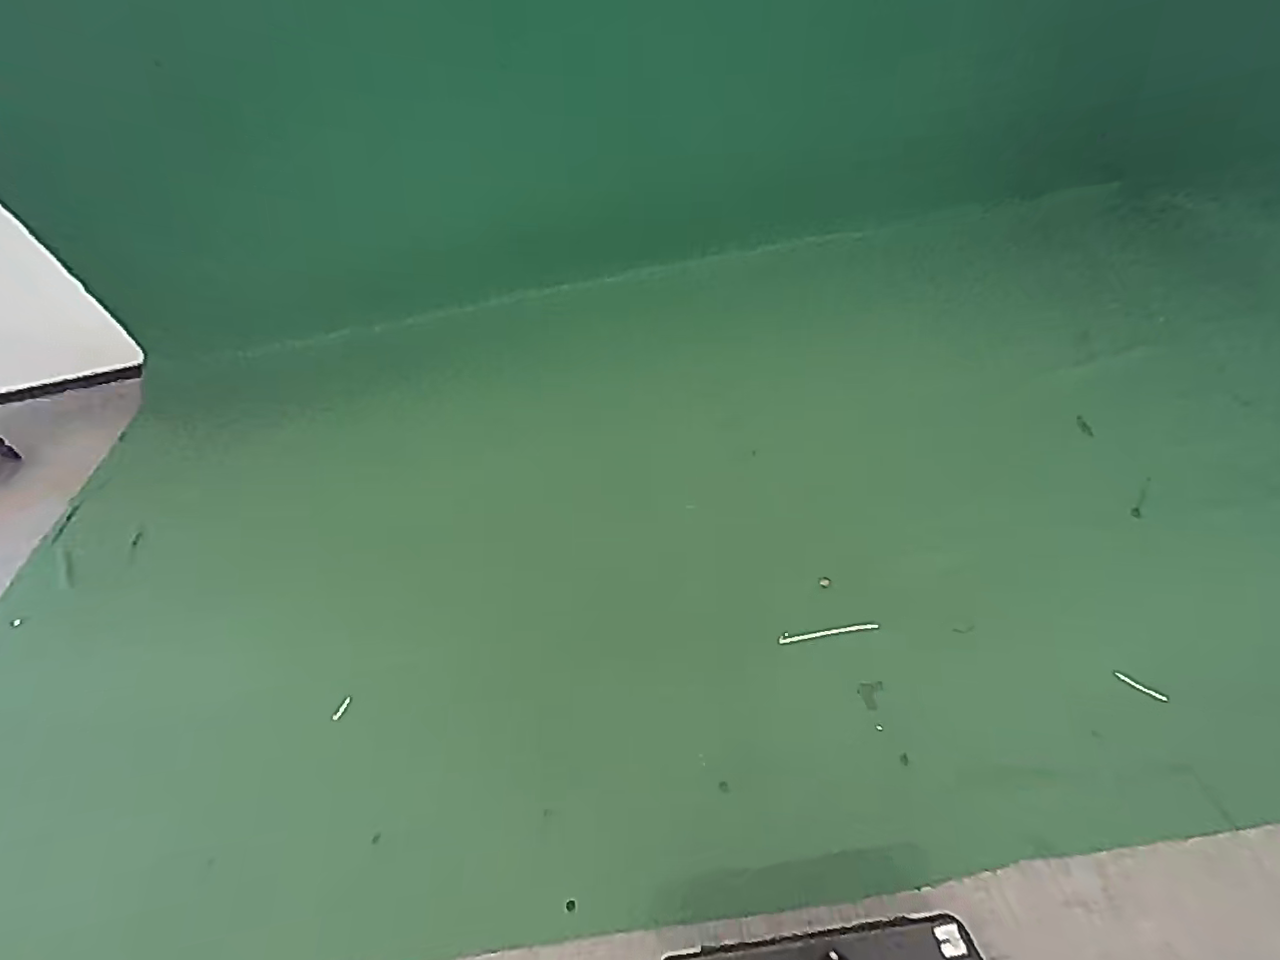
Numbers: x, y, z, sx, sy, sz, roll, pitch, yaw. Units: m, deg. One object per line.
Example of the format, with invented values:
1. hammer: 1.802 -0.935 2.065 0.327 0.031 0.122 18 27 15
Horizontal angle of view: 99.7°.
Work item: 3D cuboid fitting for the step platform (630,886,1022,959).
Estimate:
1. step platform: 0.327 0.953 0.965 0.684 0.204 0.286 -11 49 2
